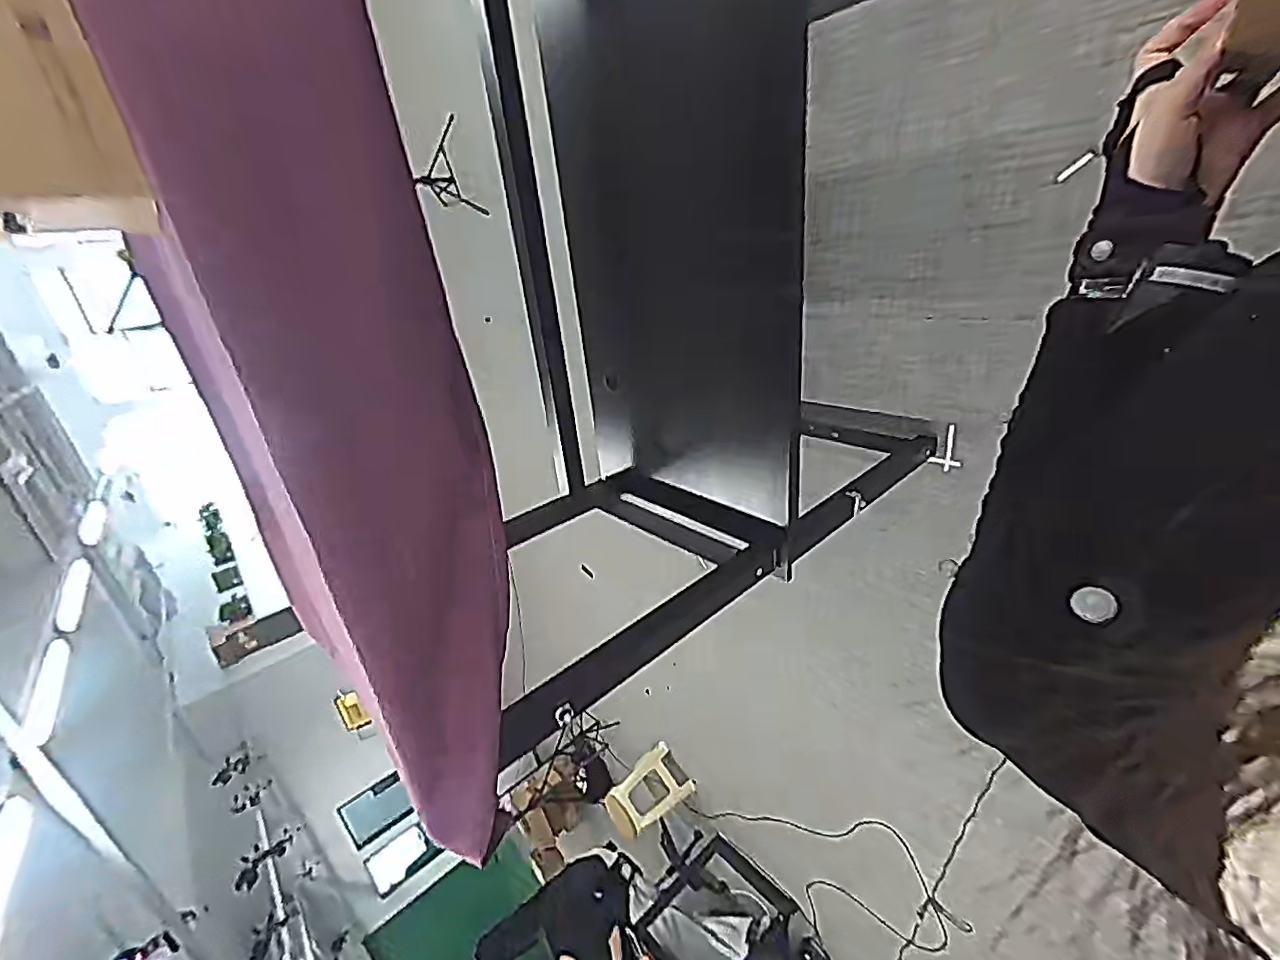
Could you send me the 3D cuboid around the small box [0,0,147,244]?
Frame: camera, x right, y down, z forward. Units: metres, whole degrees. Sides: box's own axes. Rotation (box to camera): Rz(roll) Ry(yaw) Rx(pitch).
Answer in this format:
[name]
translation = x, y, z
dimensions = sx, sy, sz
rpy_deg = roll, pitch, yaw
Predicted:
[small box]
translation = -0.506, -0.276, 0.399
dimensions = 0.179, 0.176, 0.168
rpy_deg = 16, 122, 48
